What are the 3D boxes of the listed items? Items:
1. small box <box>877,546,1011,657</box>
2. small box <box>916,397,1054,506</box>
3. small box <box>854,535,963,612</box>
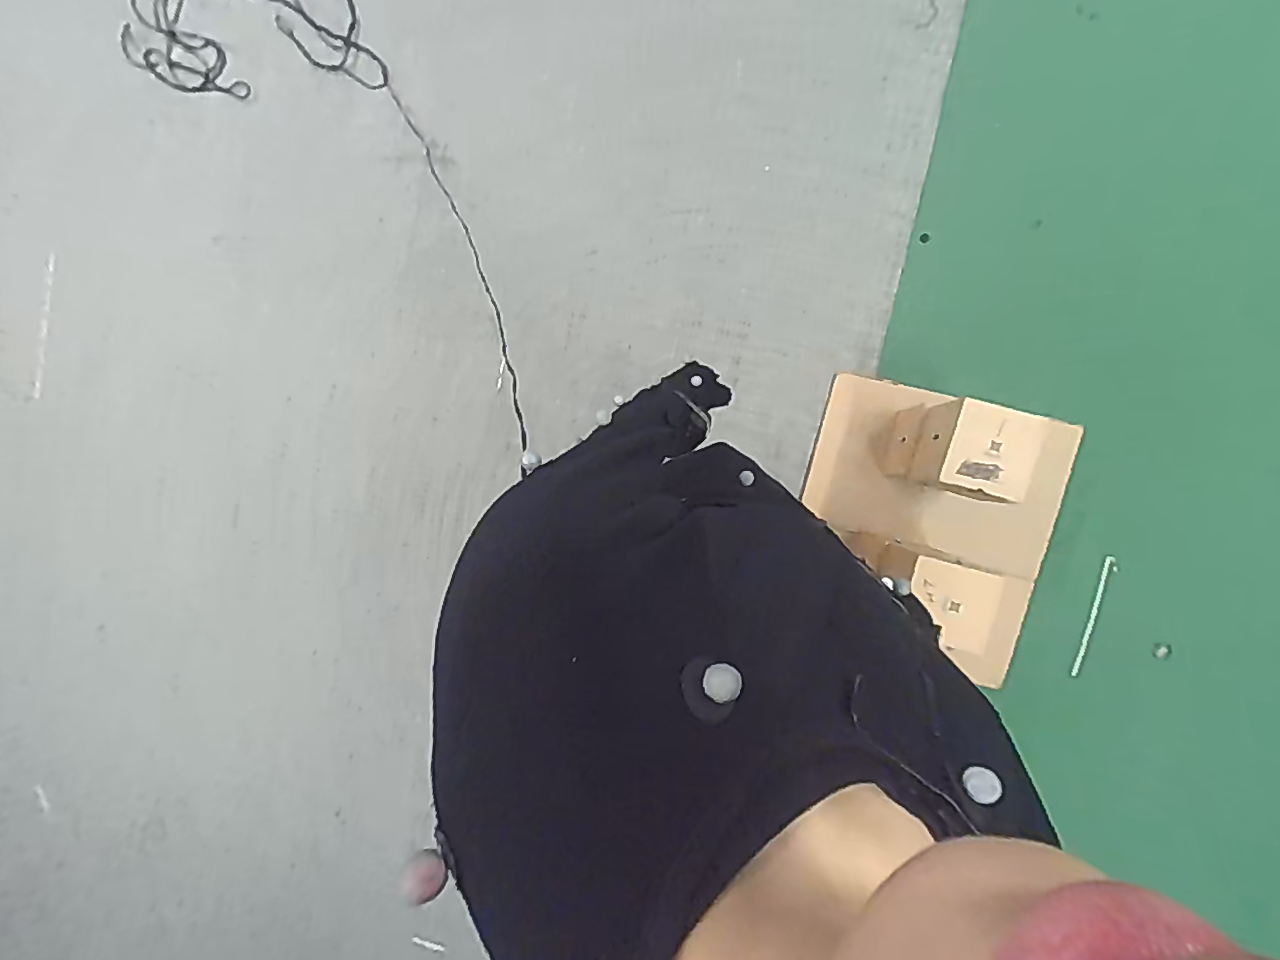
[{"bbox_3d":[0.635,0.248,1.151,0.179,0.176,0.168,15,93,7],"label":"small box"},{"bbox_3d":[0.703,-0.056,1.128,0.168,0.176,0.179,17,92,7],"label":"small box"},{"bbox_3d":[0.645,0.239,1.316,0.179,0.176,0.168,13,94,7],"label":"small box"}]
